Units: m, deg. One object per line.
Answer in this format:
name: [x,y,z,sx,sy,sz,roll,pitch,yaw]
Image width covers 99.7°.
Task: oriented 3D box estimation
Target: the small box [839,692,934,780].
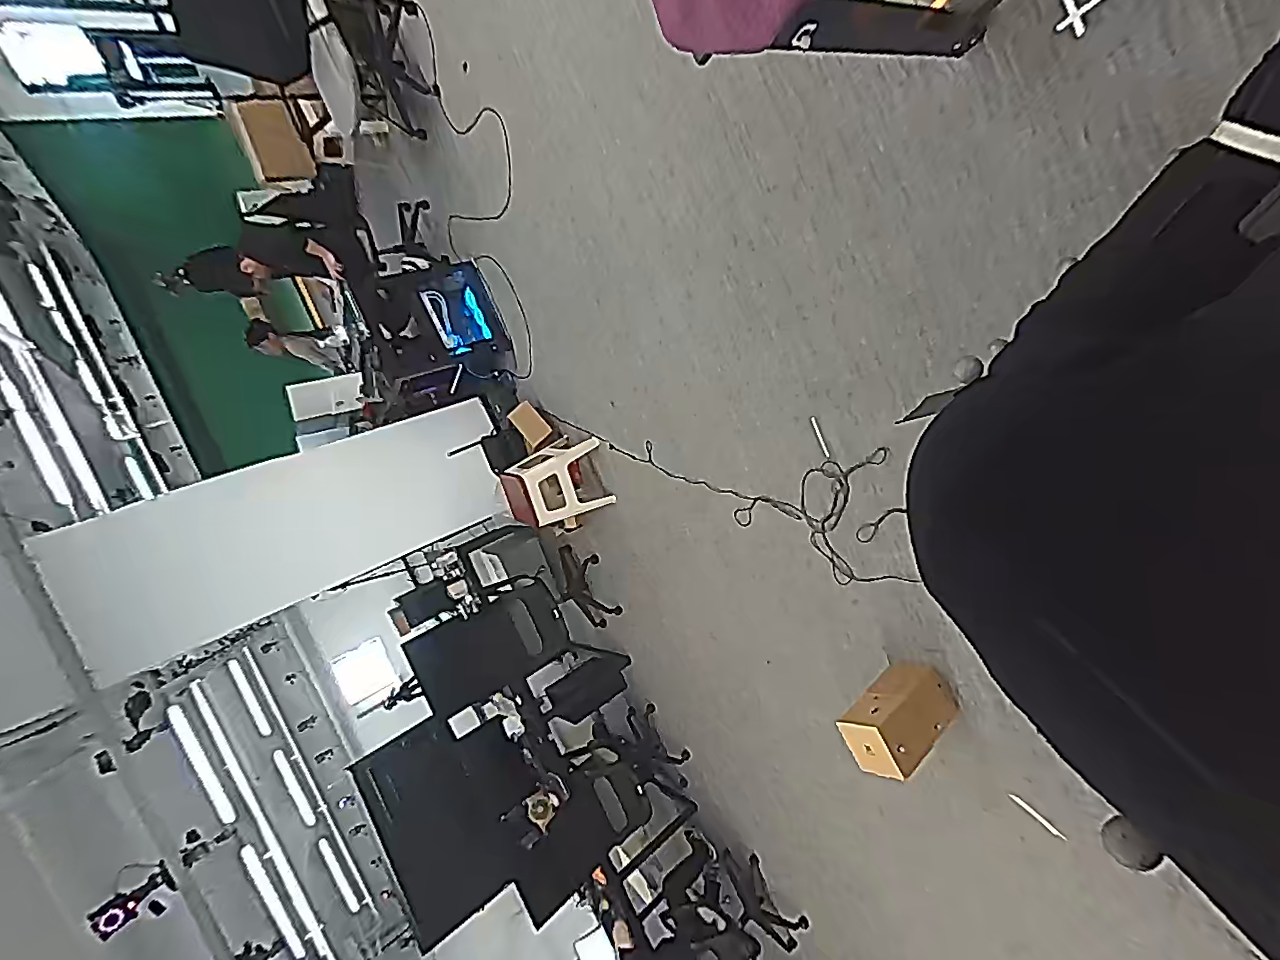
small box: [0.759,0.778,1.663,0.179,0.176,0.168,61,150,3]
